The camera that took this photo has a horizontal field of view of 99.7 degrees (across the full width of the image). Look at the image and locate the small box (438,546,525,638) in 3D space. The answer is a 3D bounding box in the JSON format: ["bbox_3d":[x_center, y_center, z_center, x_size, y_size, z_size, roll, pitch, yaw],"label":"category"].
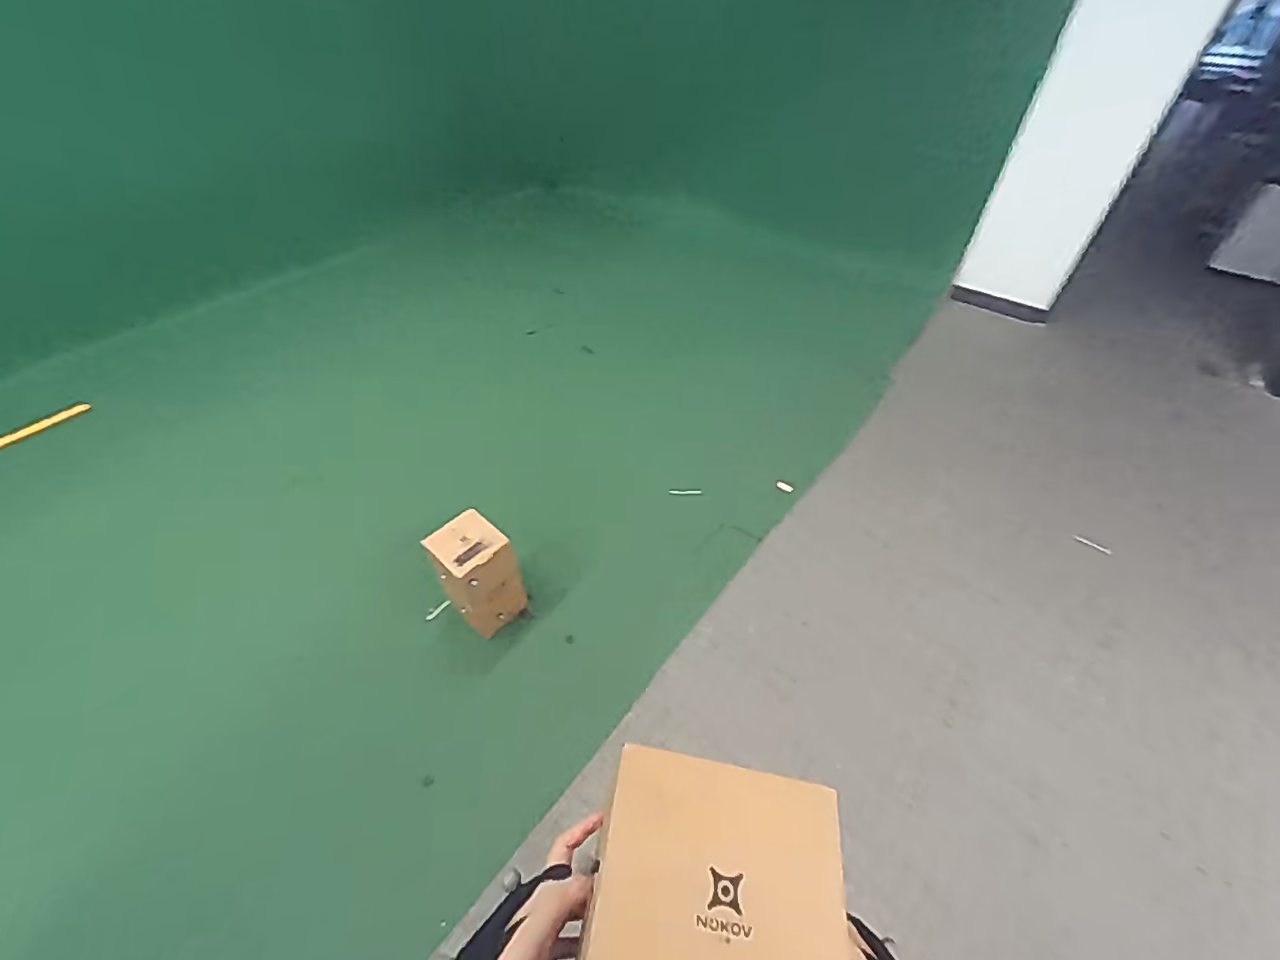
[{"bbox_3d":[-0.471,0.340,1.626,0.179,0.176,0.168,34,55,27],"label":"small box"}]

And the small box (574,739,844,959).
[{"bbox_3d":[0.043,0.331,0.417,0.168,0.176,0.179,11,48,1],"label":"small box"}]
